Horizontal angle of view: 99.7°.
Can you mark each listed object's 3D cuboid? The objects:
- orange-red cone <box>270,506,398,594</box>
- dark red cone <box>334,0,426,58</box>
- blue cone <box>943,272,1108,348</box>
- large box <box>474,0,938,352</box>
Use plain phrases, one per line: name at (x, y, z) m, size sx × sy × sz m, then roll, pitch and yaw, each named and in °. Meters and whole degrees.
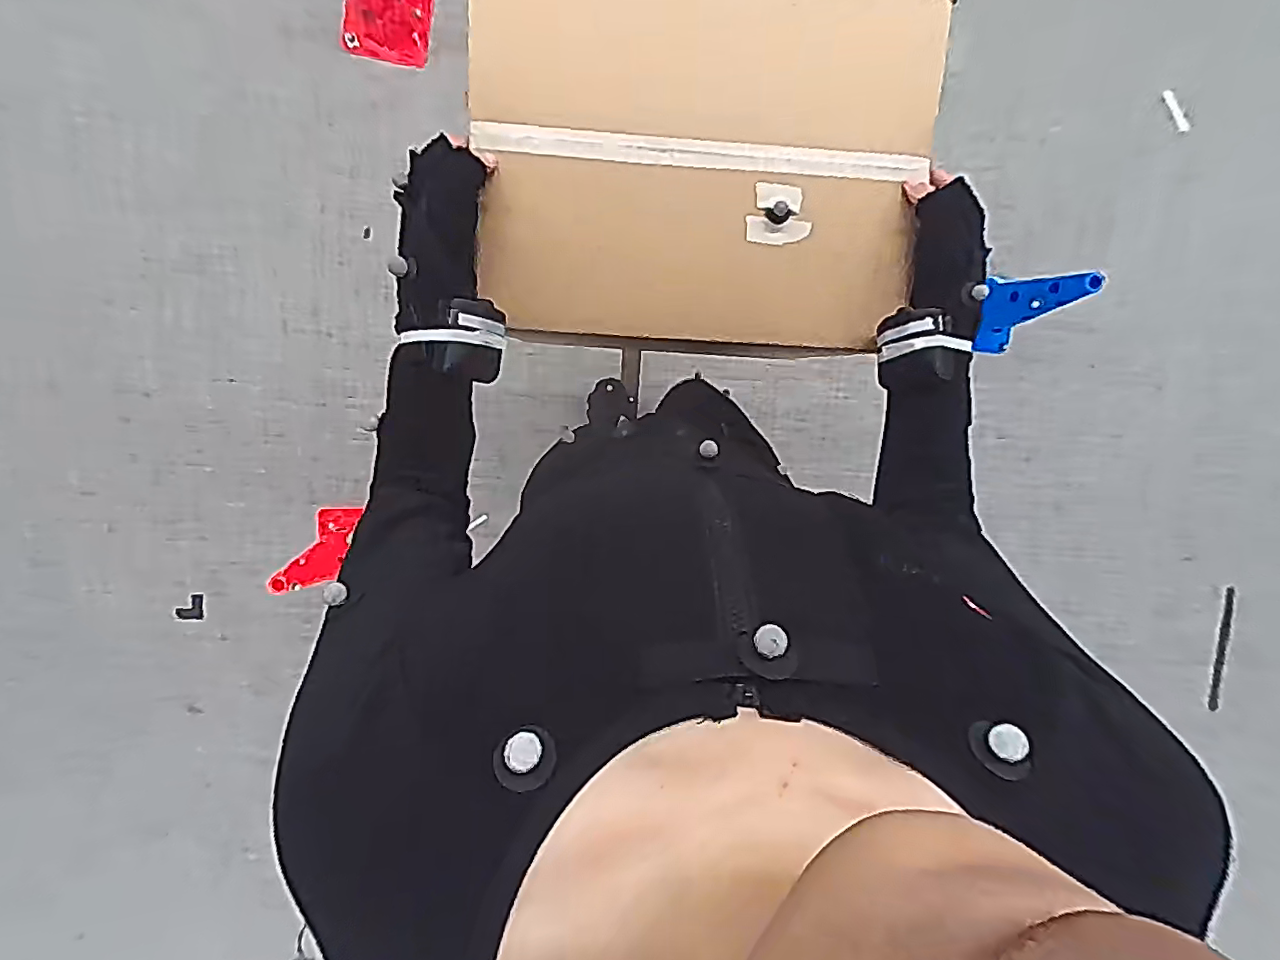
orange-red cone at (-0.740, 0.194, 1.272) m, size 0.198 × 0.360 × 0.199 m, roll 1°, pitch 98°, yaw -2°
dark red cone at (-0.592, -1.087, 1.100) m, size 0.201 × 0.394 × 0.202 m, roll 9°, pitch 97°, yaw -5°
blue cone at (0.934, -0.438, 1.306) m, size 0.192 × 0.380 × 0.193 m, roll 6°, pitch 97°, yaw -5°
large box at (0.044, -0.318, 0.624) m, size 0.408 × 0.320 × 0.320 m, roll 2°, pitch 102°, yaw -5°
